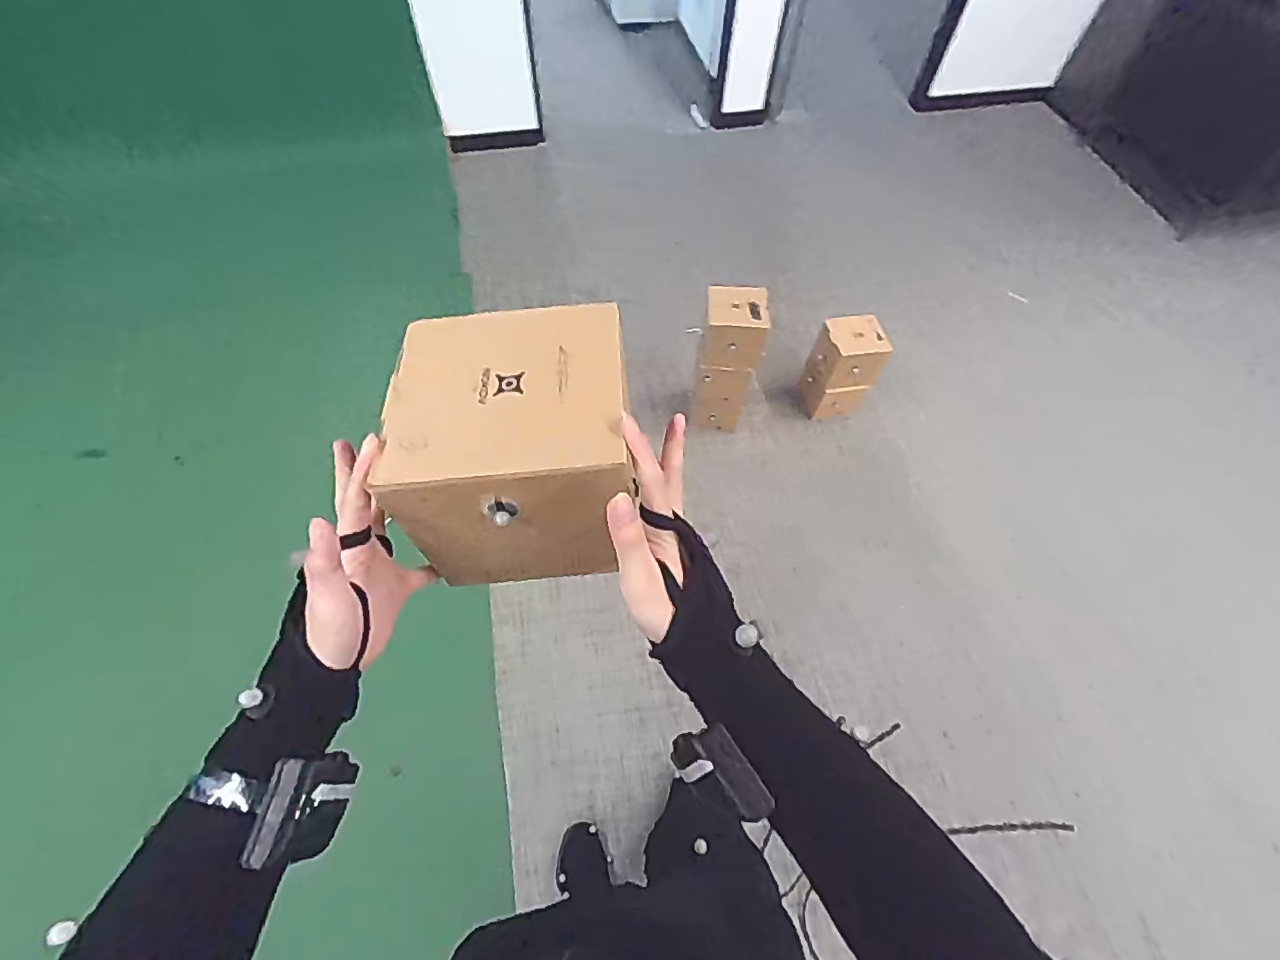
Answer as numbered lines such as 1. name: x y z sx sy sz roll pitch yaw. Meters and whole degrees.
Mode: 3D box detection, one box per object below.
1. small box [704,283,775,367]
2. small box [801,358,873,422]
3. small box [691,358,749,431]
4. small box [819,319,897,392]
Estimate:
1. small box: 0.289 -0.452 1.597 0.179 0.176 0.168 5 60 1
2. small box: 0.695 -0.321 1.922 0.168 0.176 0.179 -7 60 -6
3. small box: 0.274 -0.292 1.883 0.168 0.176 0.179 11 60 3
4. small box: 0.706 -0.407 1.782 0.179 0.176 0.168 -6 61 -5
